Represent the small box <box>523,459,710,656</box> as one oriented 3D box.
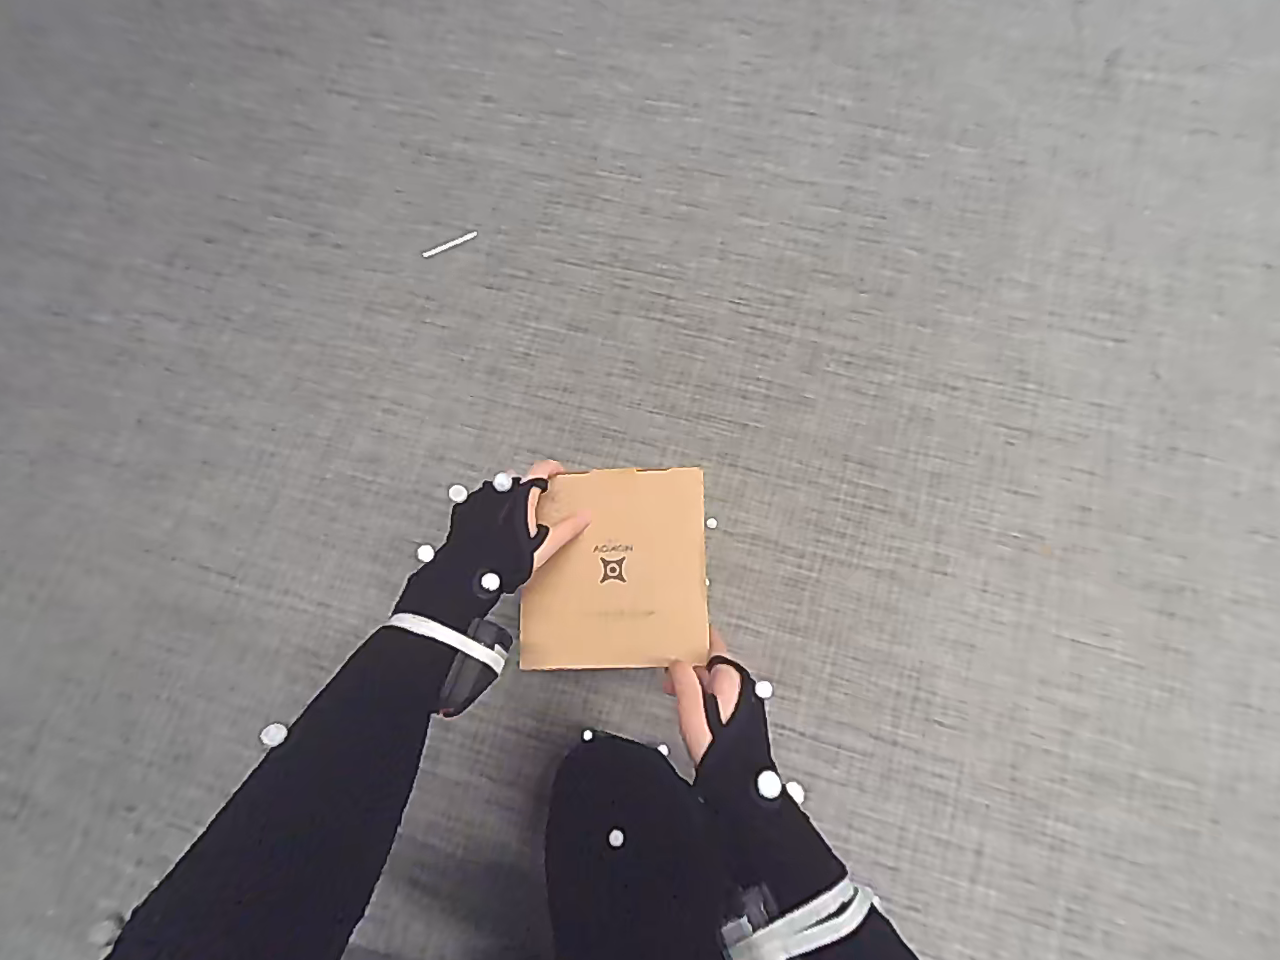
[{"bbox_3d":[-0.017,0.084,0.562,0.168,0.176,0.179,-2,79,4],"label":"small box"}]
